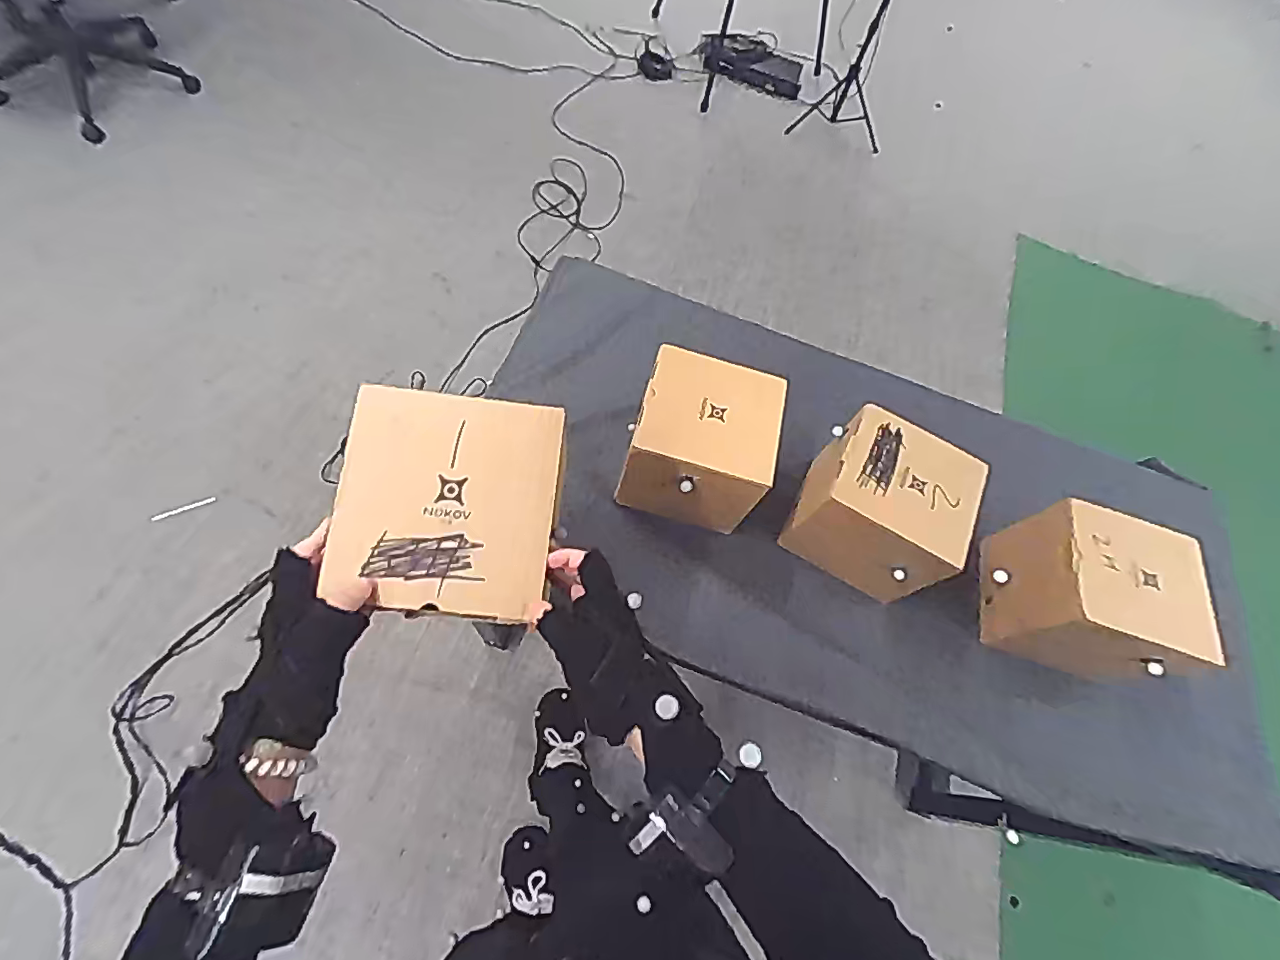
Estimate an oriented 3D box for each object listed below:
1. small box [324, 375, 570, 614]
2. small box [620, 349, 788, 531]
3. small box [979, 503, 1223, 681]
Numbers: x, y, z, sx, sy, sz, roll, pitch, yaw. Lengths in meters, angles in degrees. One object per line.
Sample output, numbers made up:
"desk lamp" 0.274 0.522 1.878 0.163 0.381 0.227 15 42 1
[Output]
"small box" -0.156 0.025 0.503 0.168 0.176 0.179 7 77 -7
"small box" 0.081 -0.044 0.744 0.179 0.176 0.168 16 62 -1
"small box" 0.594 0.158 0.723 0.179 0.176 0.168 19 62 0
